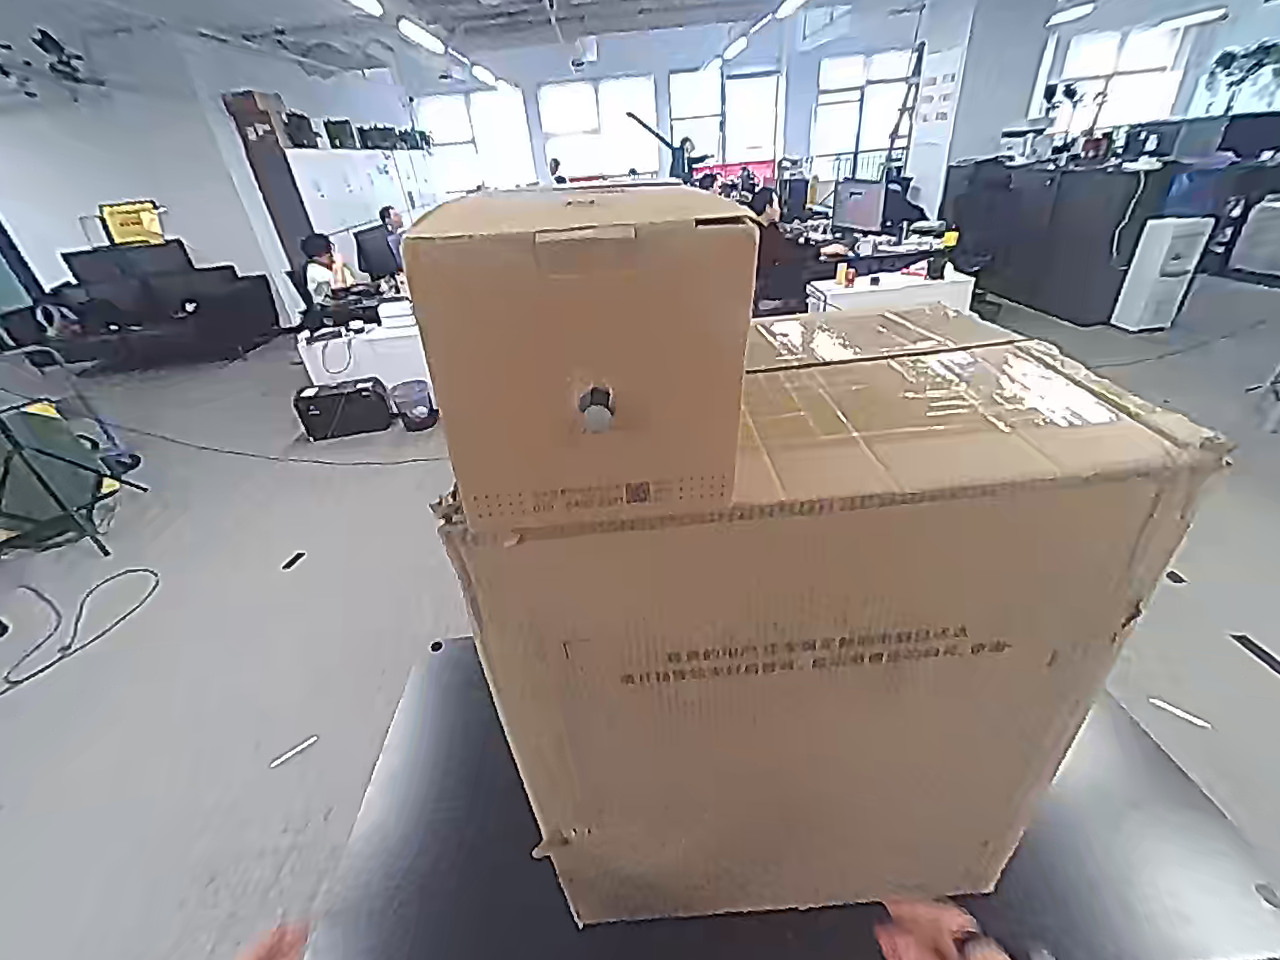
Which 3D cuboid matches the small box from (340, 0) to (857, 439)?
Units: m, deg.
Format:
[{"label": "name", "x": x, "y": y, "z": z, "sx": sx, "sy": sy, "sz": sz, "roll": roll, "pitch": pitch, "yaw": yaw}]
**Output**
[{"label": "small box", "x": -0.016, "y": -0.130, "z": 0.278, "sx": 0.168, "sy": 0.176, "sz": 0.179, "roll": -5, "pitch": 35, "yaw": -6}]
